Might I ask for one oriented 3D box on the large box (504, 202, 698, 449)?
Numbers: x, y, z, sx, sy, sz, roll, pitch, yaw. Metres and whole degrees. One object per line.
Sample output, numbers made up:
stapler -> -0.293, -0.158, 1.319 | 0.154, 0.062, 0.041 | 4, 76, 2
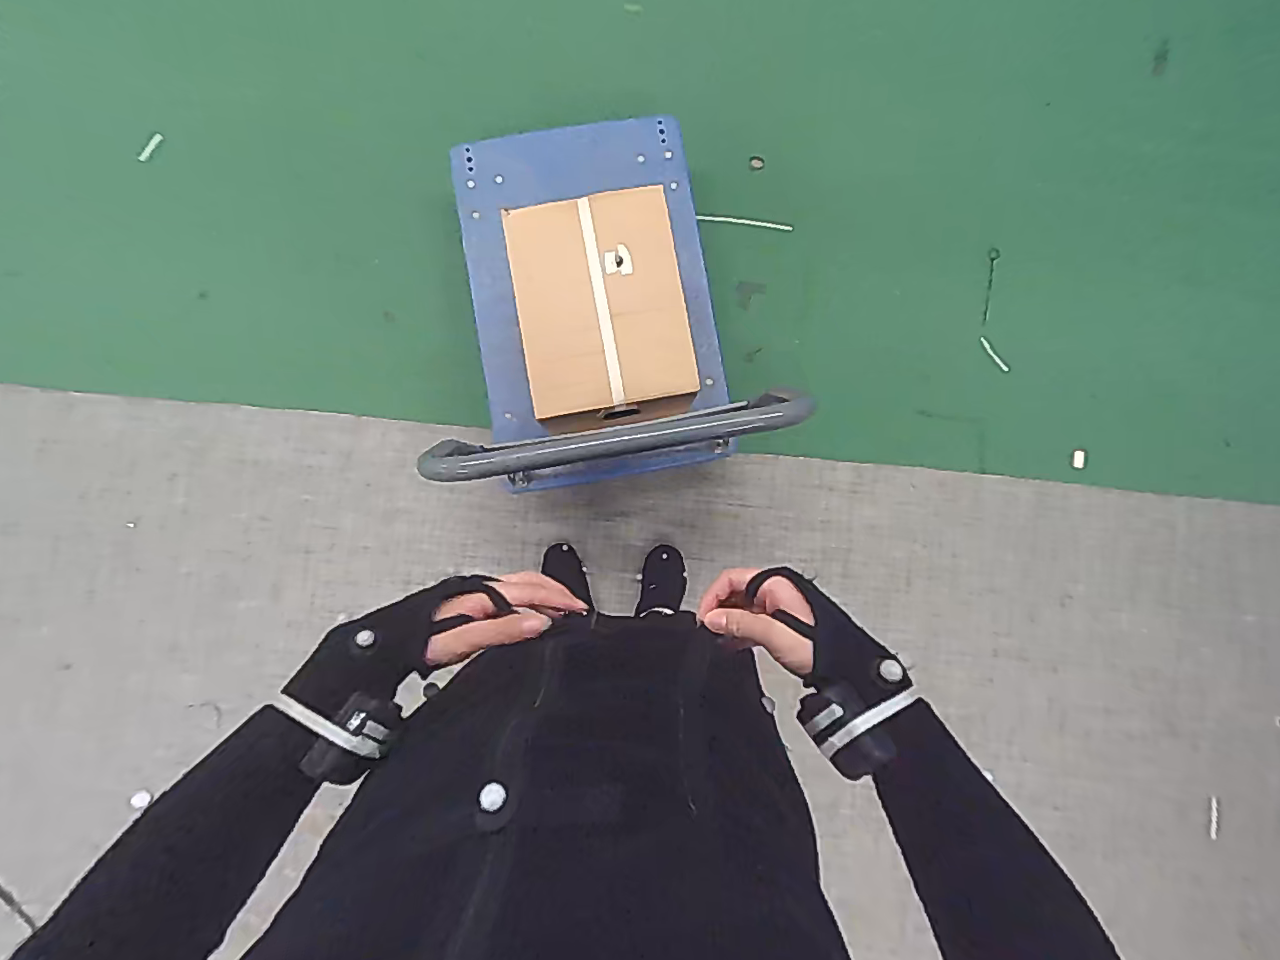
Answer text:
large box -> -0.075, -0.306, 1.174 | 0.320, 0.320, 0.408 | -10, 86, -2
